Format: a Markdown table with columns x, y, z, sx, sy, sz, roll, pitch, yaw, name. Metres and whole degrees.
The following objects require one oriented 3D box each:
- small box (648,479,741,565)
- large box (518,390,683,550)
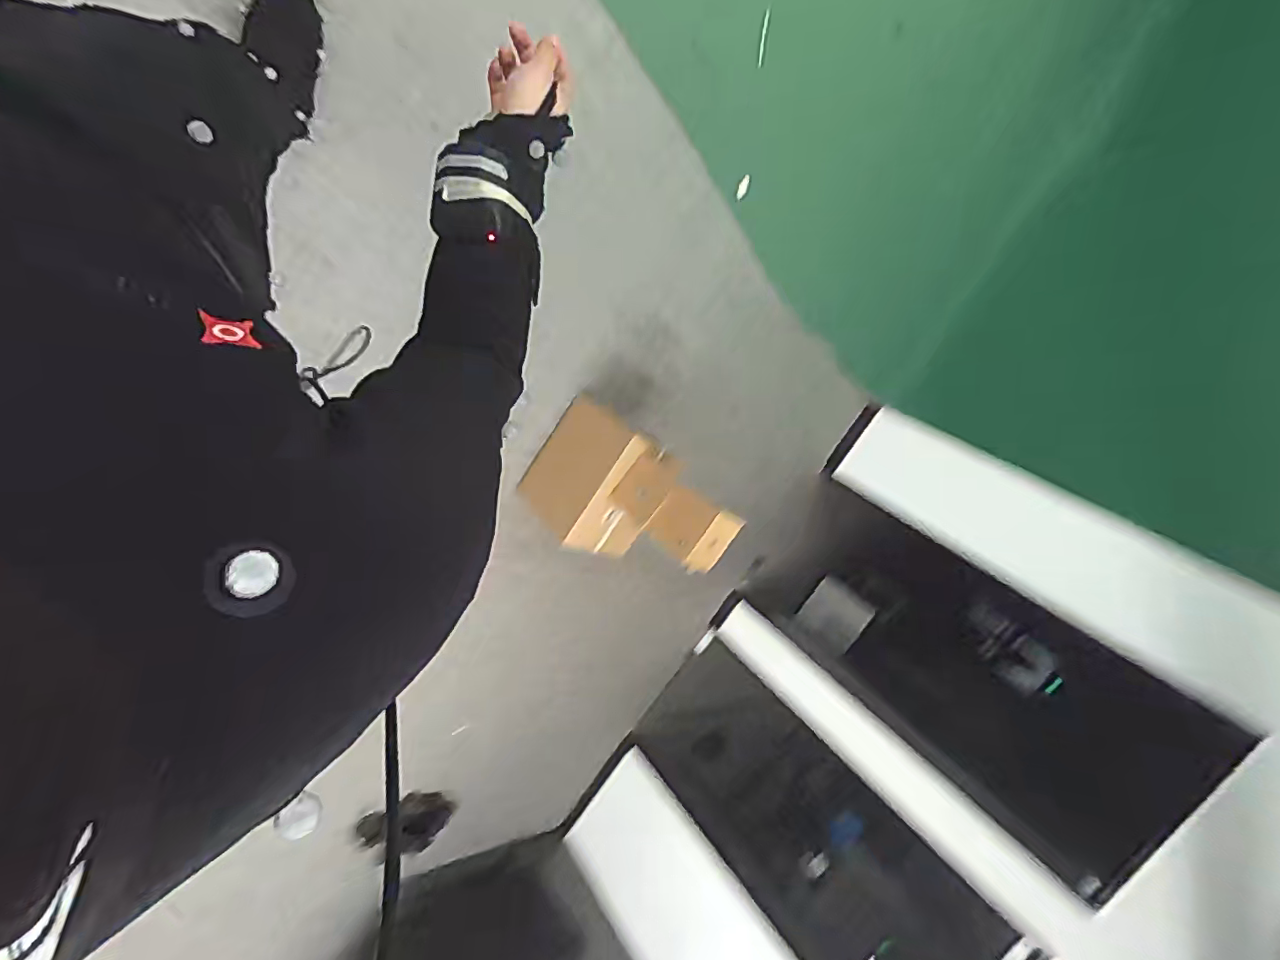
| x | y | z | sx | sy | sz | roll | pitch | yaw | name |
| --- | --- | --- | --- | --- | --- | --- | --- | --- | --- |
| 0.154 | 0.120 | 1.565 | 0.179 | 0.176 | 0.168 | -55 | 143 | 8 | small box |
| -0.136 | -0.028 | 1.821 | 0.320 | 0.320 | 0.408 | 23 | 105 | -51 | large box |
